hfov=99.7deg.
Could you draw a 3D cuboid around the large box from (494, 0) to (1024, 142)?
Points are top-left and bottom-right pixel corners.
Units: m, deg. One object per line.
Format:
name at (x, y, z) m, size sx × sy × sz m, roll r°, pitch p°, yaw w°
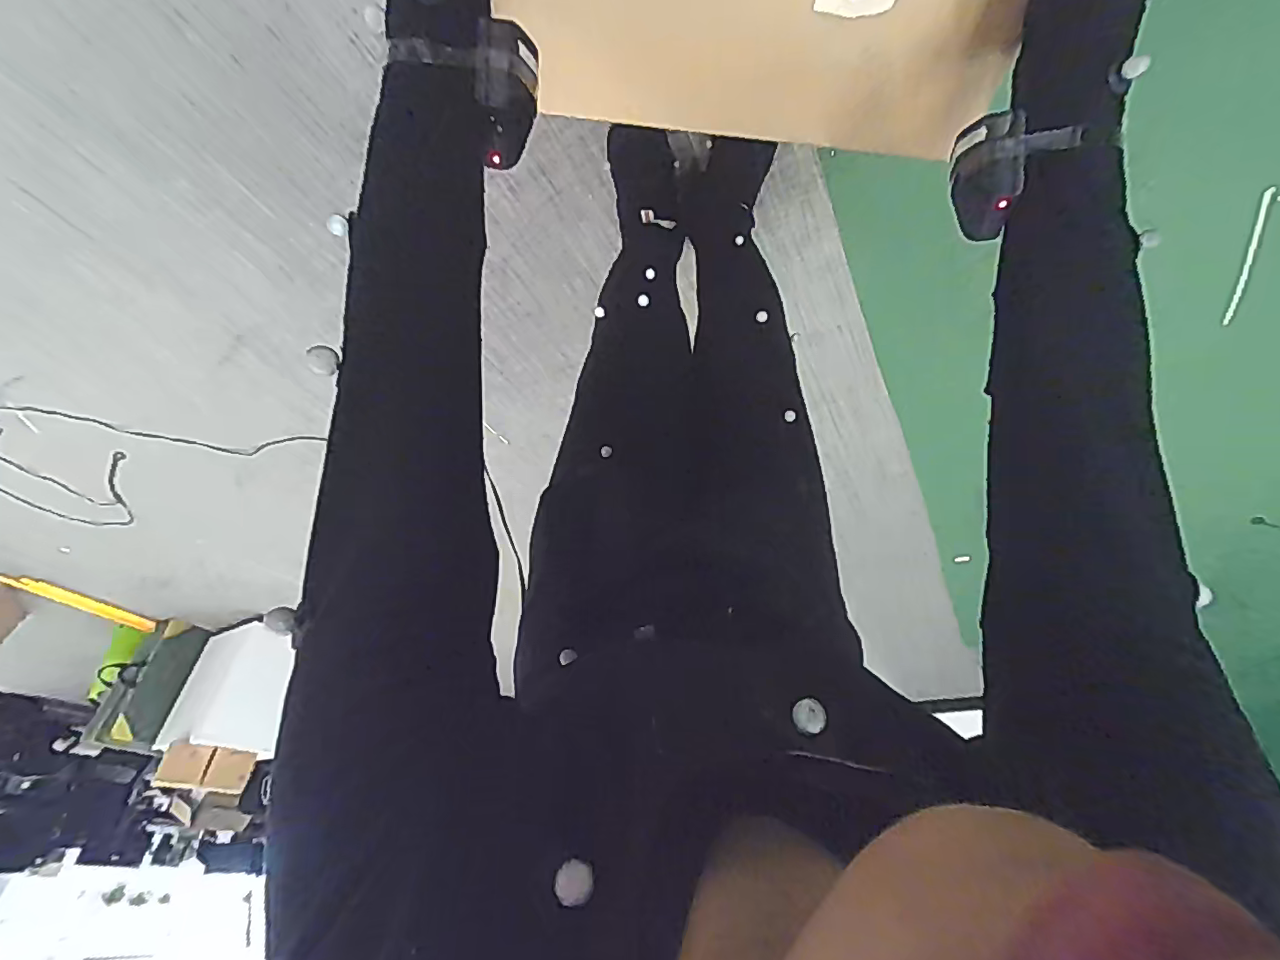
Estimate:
large box at (0.095, -0.520, 0.442) m, size 0.408 × 0.320 × 0.320 m, roll 5°, pitch 142°, yaw -3°
